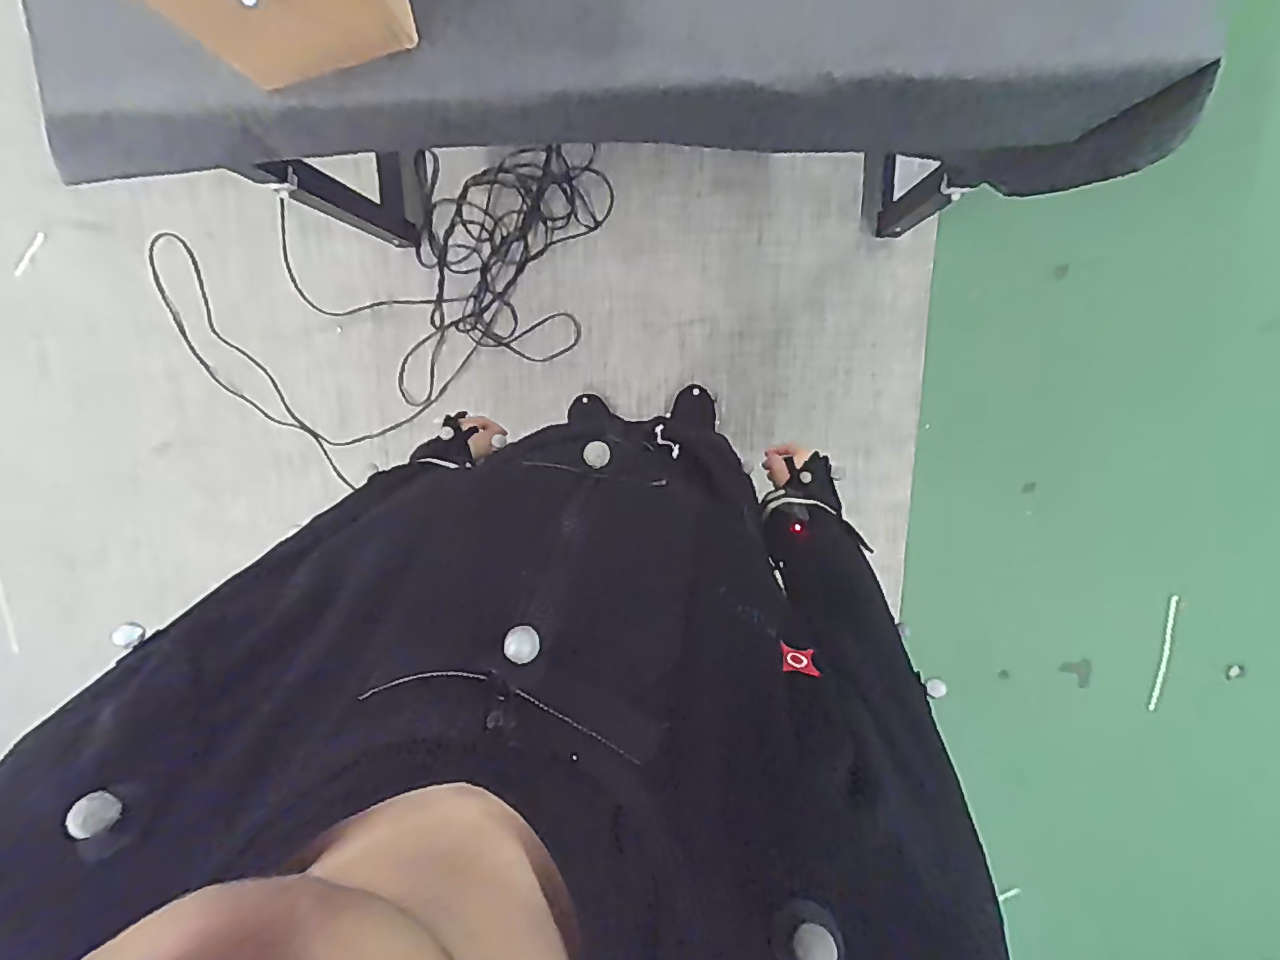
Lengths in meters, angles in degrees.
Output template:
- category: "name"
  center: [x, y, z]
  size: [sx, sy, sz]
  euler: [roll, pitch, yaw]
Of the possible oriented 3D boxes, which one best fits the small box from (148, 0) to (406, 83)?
- category: "small box"
  center: [-0.328, -0.492, 0.468]
  size: [0.179, 0.176, 0.168]
  euler: [-11, 99, 6]
